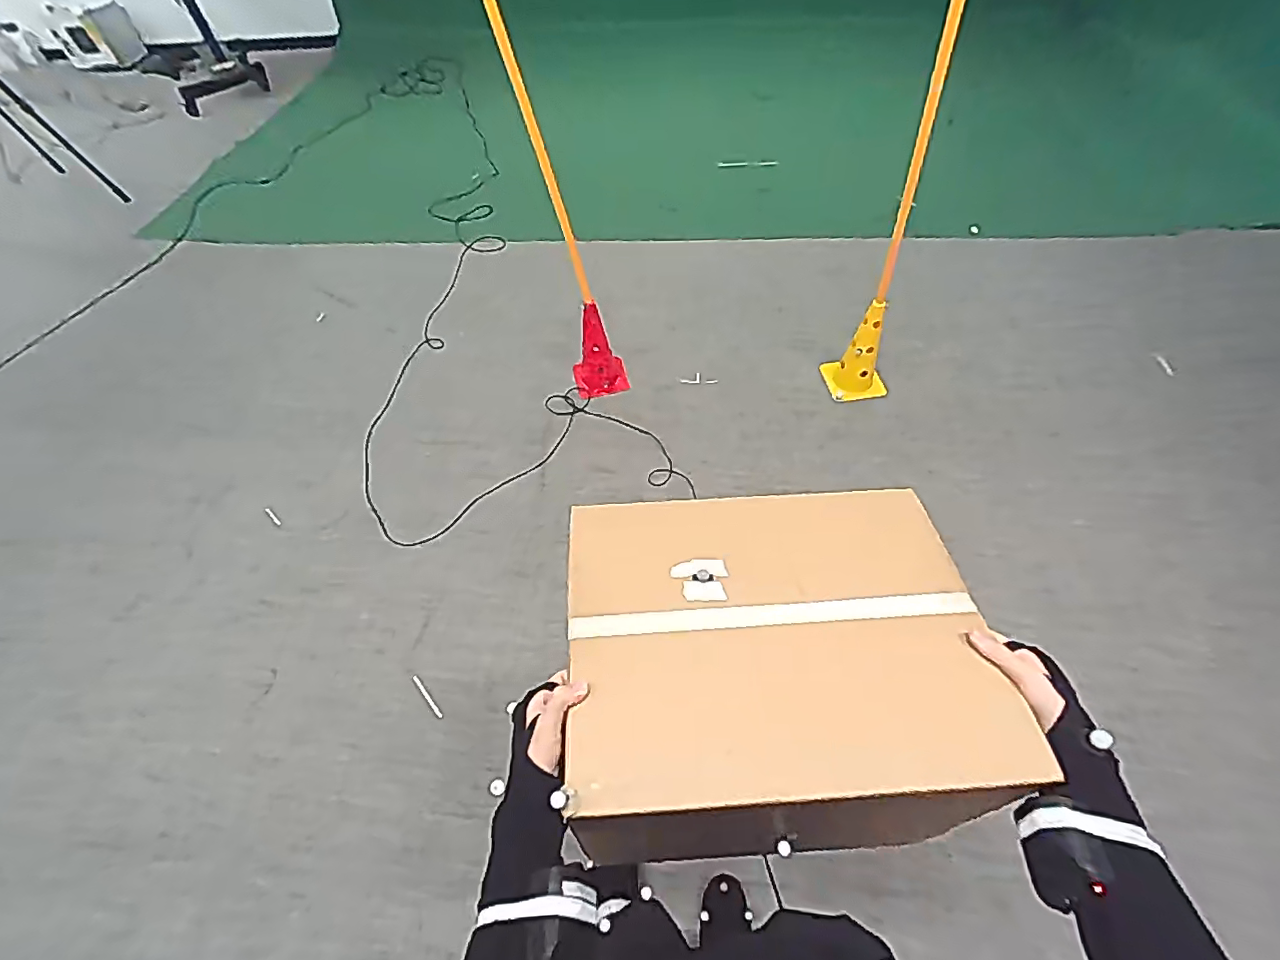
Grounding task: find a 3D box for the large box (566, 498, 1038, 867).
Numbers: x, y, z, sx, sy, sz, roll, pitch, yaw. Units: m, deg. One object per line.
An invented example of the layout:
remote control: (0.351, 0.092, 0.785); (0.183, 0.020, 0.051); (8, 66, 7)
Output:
large box: (0.132, 0.249, 0.652); (0.408, 0.320, 0.320); (-4, 48, -1)
